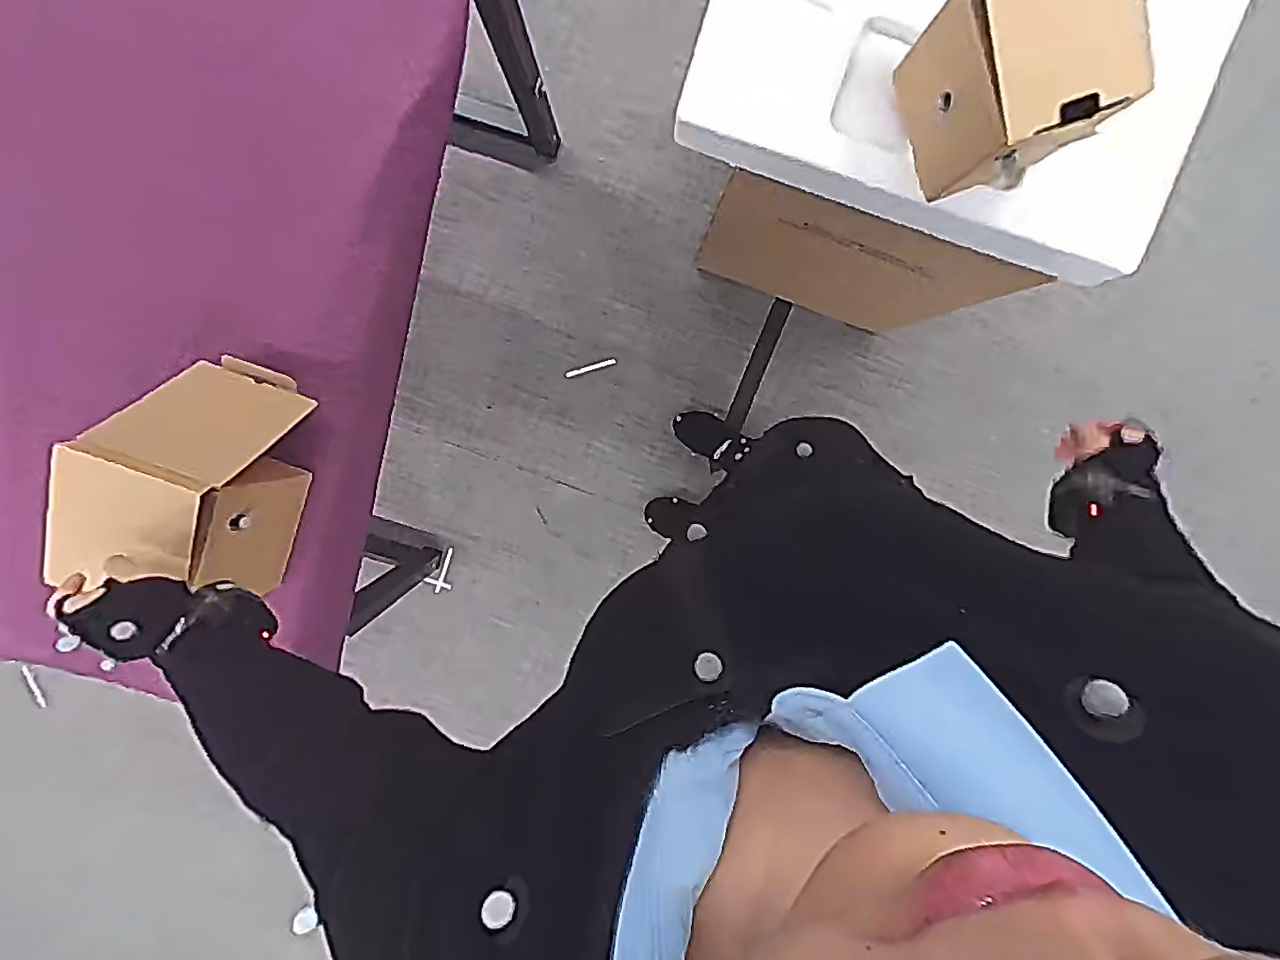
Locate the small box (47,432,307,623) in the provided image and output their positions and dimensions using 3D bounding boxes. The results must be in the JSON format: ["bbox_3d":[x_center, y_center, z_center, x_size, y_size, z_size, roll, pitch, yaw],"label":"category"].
[{"bbox_3d":[-0.560,0.046,0.680,0.168,0.176,0.179,20,97,0],"label":"small box"}]
